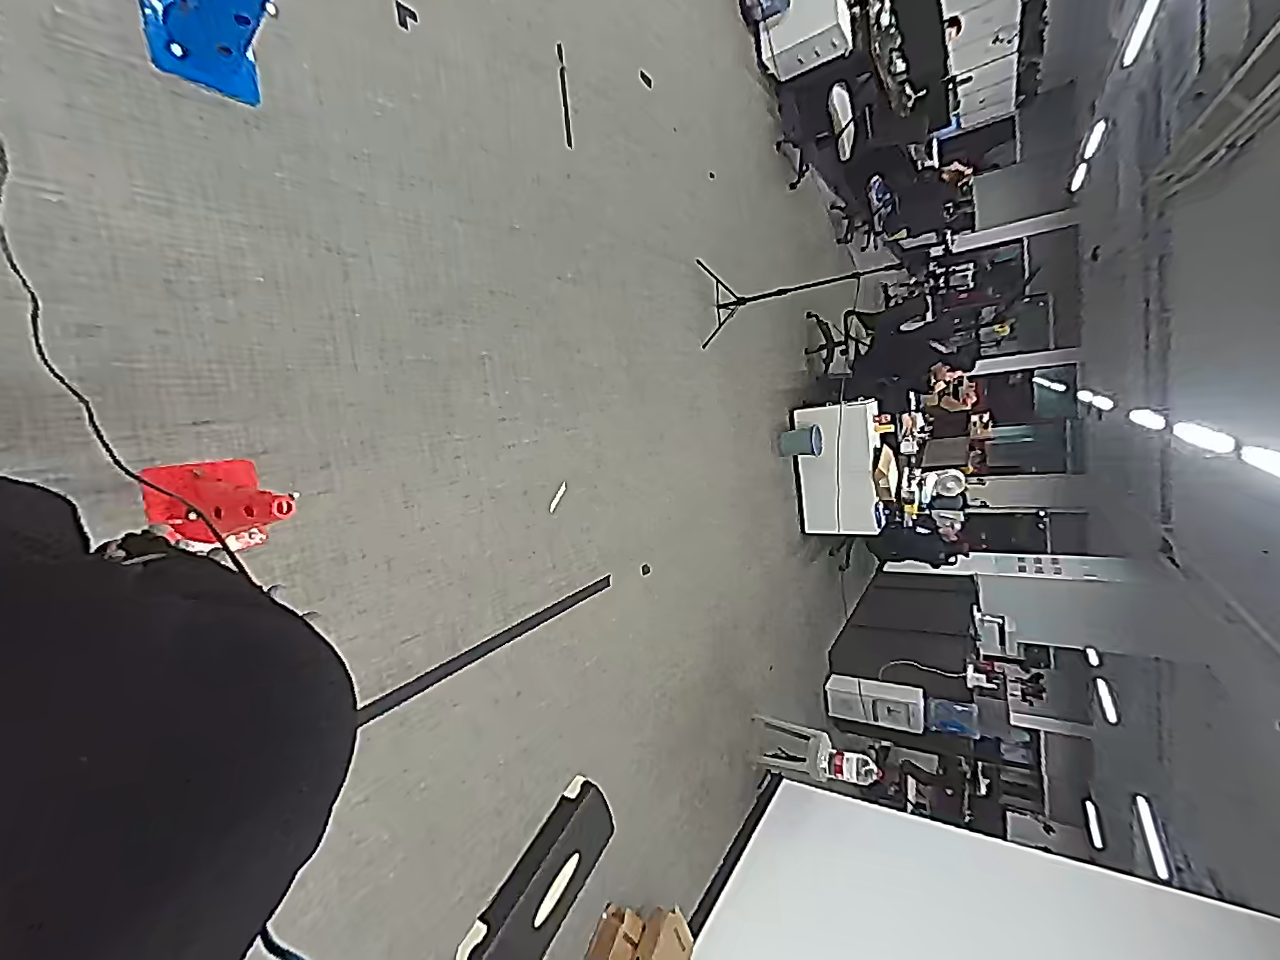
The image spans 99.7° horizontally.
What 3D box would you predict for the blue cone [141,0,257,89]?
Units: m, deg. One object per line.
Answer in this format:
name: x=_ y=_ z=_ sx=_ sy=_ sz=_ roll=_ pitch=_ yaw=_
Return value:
blue cone: x=-0.825 y=-0.980 z=1.080 sx=0.193 sy=0.380 sz=0.192 roll=-11 pitch=97 yaw=-56
